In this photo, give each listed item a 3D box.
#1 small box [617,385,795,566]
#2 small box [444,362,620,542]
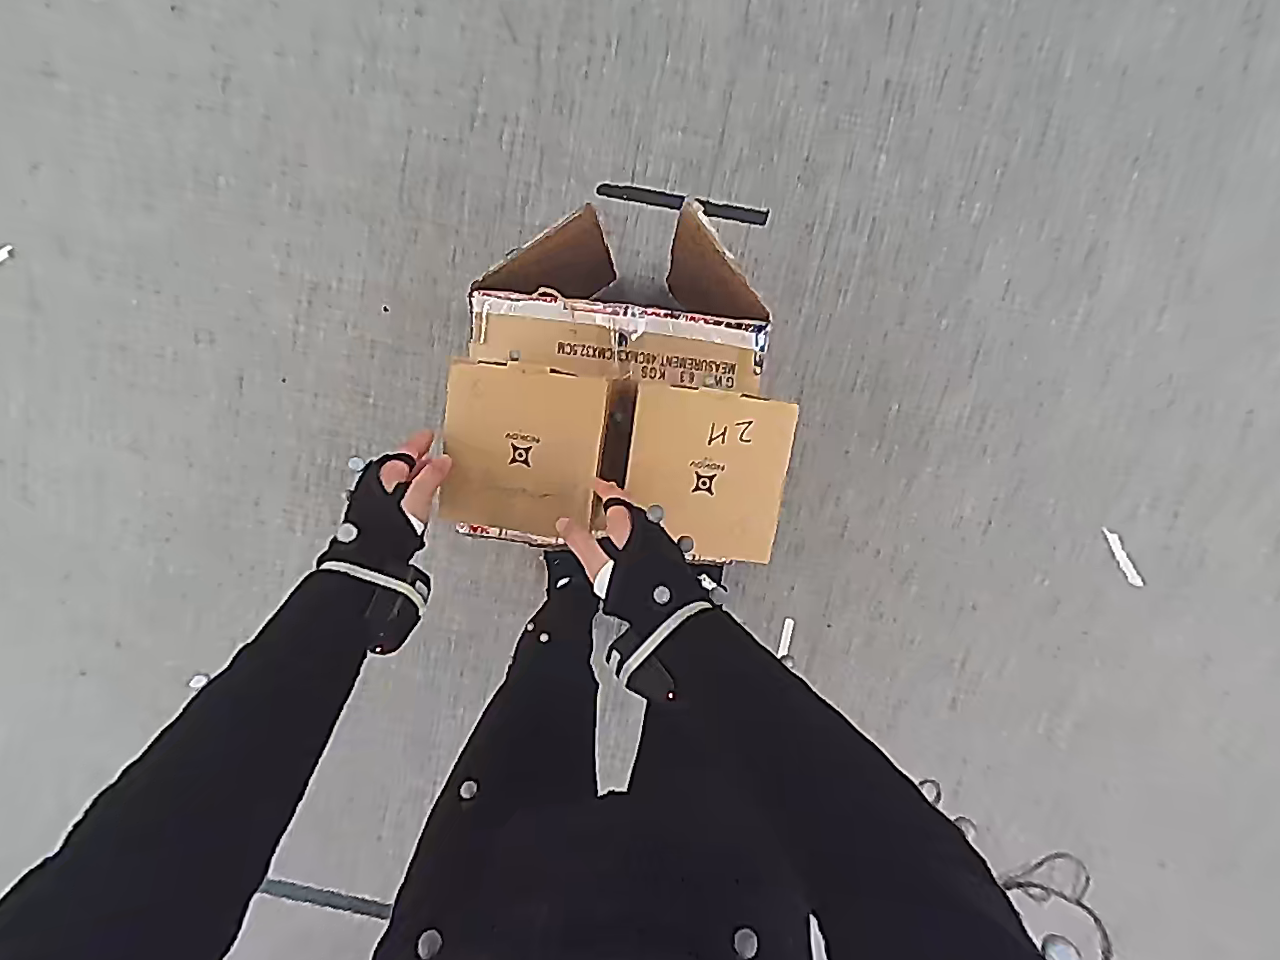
[{"bbox_3d":[0.068,-0.015,0.646,0.168,0.176,0.179,8,100,-2],"label":"small box"},{"bbox_3d":[-0.118,-0.042,0.647,0.168,0.176,0.179,7,102,2],"label":"small box"}]
